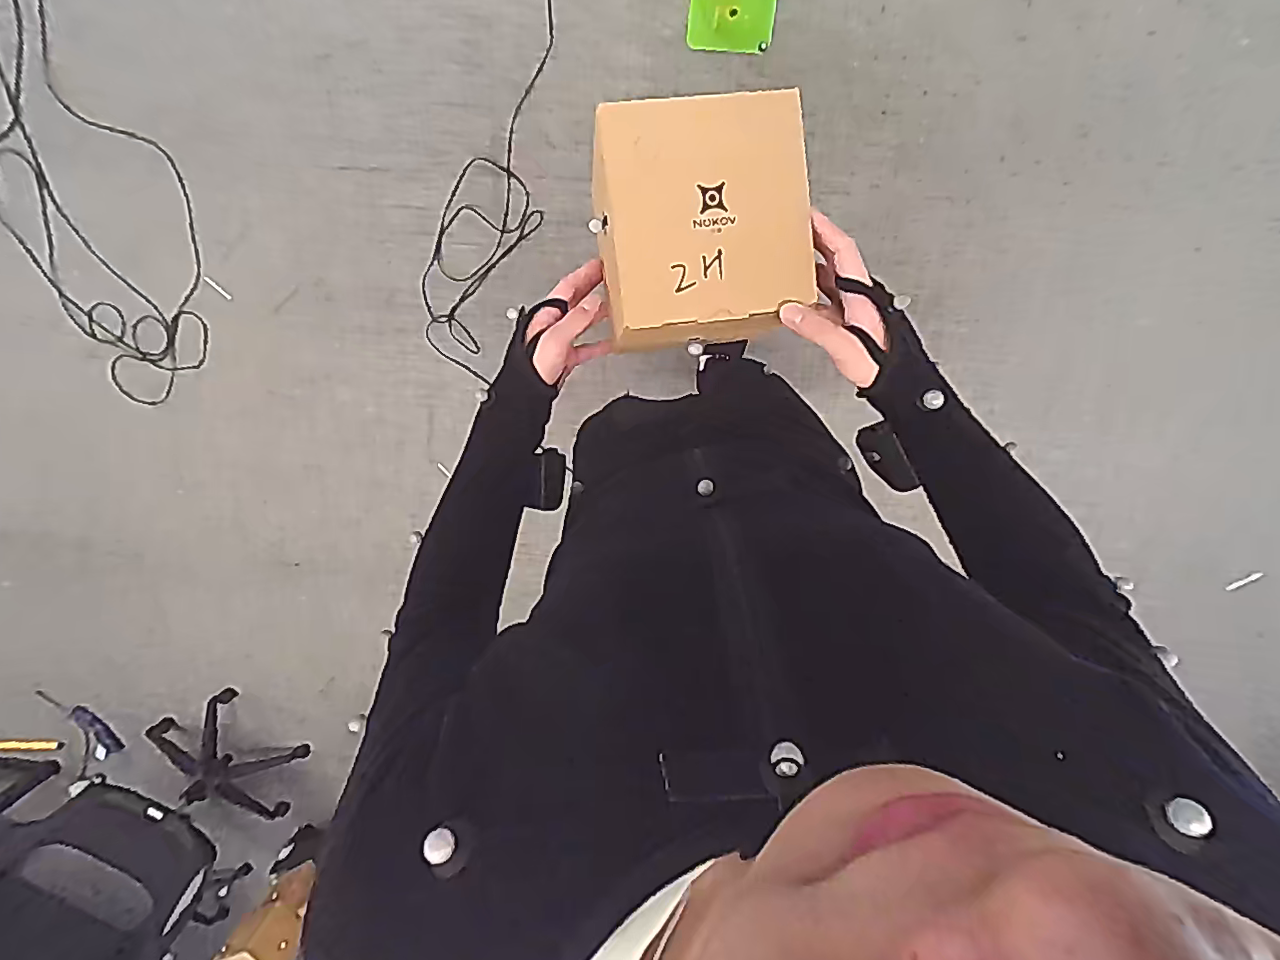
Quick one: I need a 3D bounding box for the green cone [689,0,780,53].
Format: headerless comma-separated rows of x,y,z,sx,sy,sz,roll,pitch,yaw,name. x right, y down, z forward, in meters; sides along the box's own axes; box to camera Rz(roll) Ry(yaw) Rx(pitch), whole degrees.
0.199,-1.051,1.077,0.202,0.368,0.200,7,108,5,green cone
